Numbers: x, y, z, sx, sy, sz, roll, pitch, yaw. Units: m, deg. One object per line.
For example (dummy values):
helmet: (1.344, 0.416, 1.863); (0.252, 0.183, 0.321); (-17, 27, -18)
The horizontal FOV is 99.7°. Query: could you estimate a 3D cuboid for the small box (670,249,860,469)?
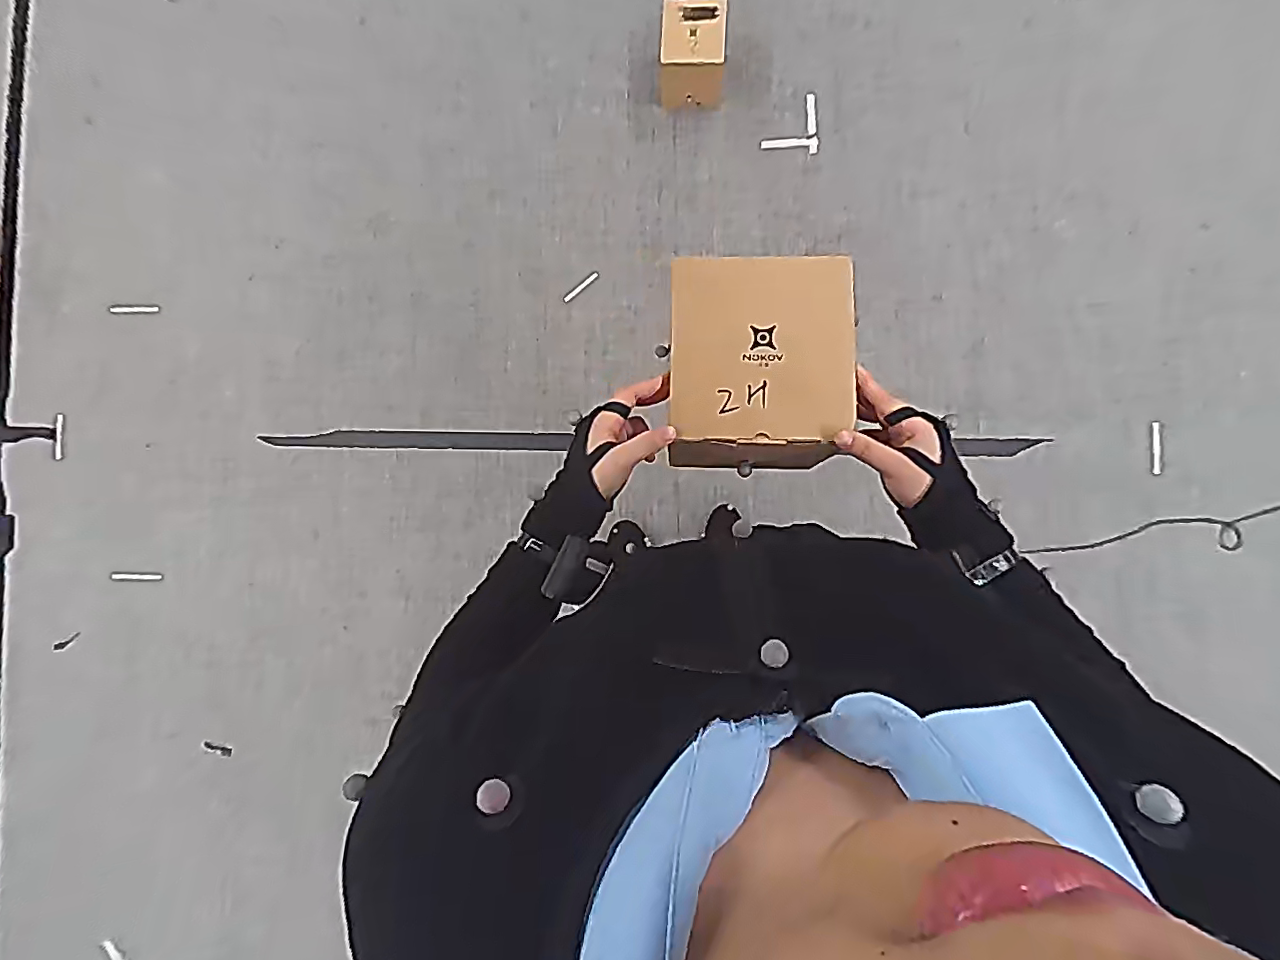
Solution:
small box: (0.116, -0.113, 0.560); (0.168, 0.176, 0.179); (1, 83, 4)
